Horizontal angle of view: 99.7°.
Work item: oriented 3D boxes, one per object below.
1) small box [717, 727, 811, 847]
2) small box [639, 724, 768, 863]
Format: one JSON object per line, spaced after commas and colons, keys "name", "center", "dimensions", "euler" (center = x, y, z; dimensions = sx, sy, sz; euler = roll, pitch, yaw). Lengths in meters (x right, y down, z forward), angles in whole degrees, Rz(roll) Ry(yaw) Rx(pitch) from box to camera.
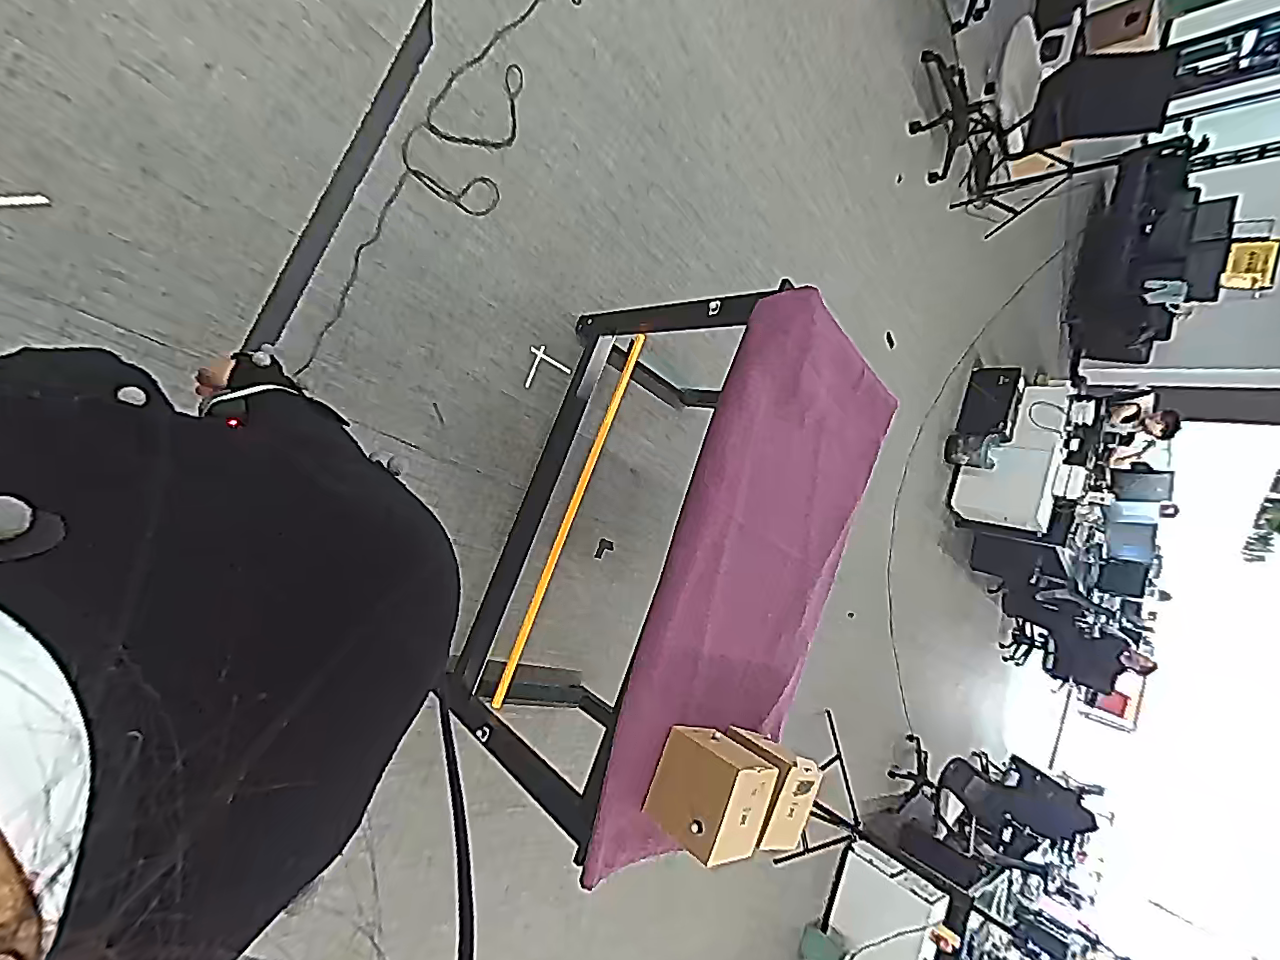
{"name": "small box", "center": [0.250, 0.685, 1.215], "dimensions": [0.168, 0.176, 0.179], "euler": [36, 75, -40]}
{"name": "small box", "center": [0.122, 0.615, 1.077], "dimensions": [0.168, 0.176, 0.179], "euler": [31, 76, -45]}
